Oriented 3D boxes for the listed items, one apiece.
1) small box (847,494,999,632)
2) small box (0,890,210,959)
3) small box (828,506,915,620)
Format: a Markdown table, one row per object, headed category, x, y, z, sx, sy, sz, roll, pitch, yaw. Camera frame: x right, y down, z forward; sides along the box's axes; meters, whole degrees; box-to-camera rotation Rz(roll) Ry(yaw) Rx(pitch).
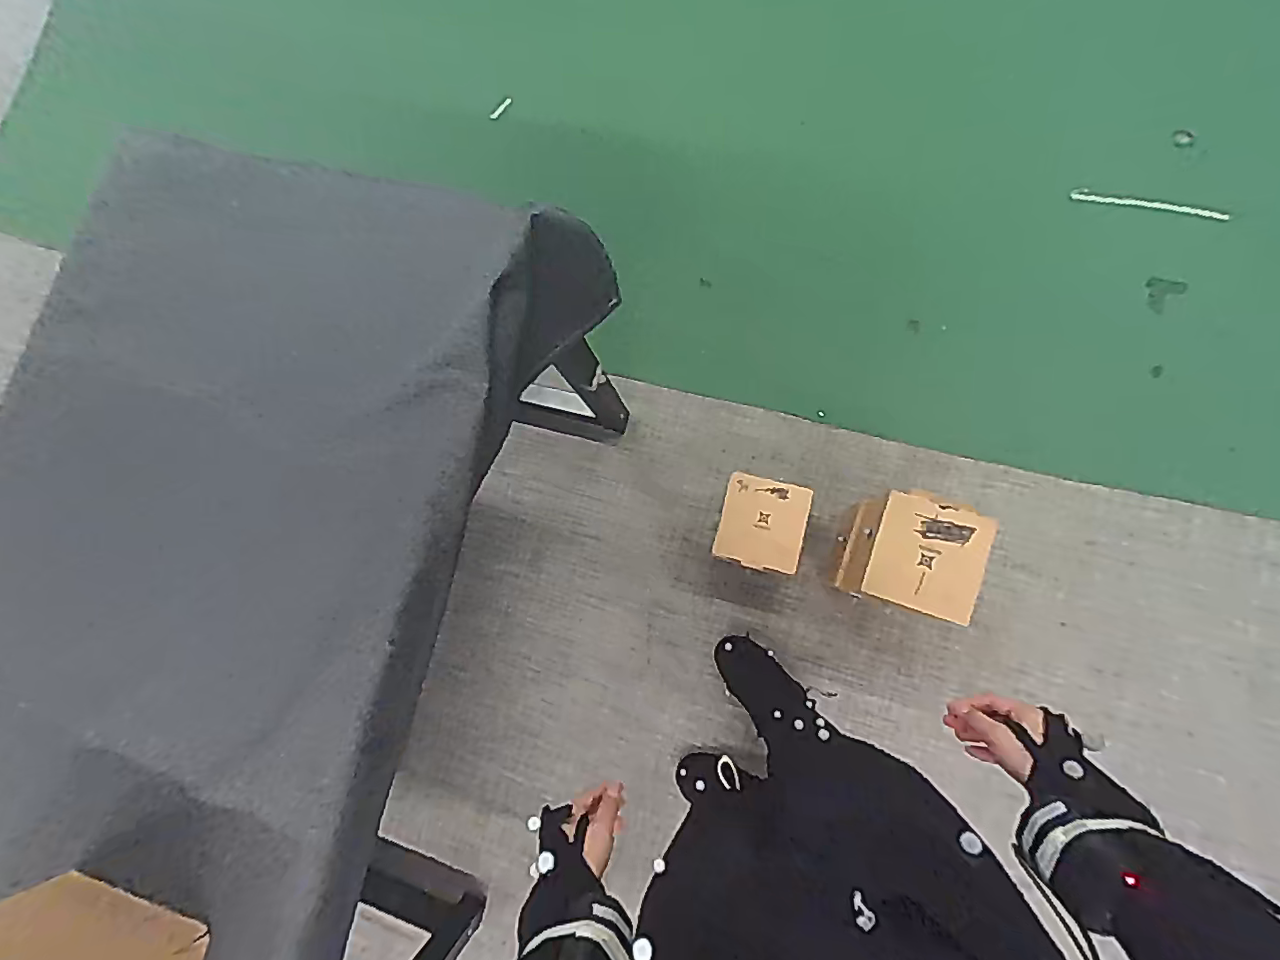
| category | x | y | z | sx | sy | sz | roll | pitch | yaw |
| --- | --- | --- | --- | --- | --- | --- | --- | --- | --- |
| small box | 0.471 | 0.141 | 0.928 | 0.168 | 0.176 | 0.179 | 18 | 83 | 13 |
| small box | -0.517 | 0.480 | 0.439 | 0.179 | 0.176 | 0.168 | 11 | 81 | 11 |
| small box | 0.491 | 0.168 | 1.089 | 0.168 | 0.176 | 0.179 | 18 | 84 | 13 |
